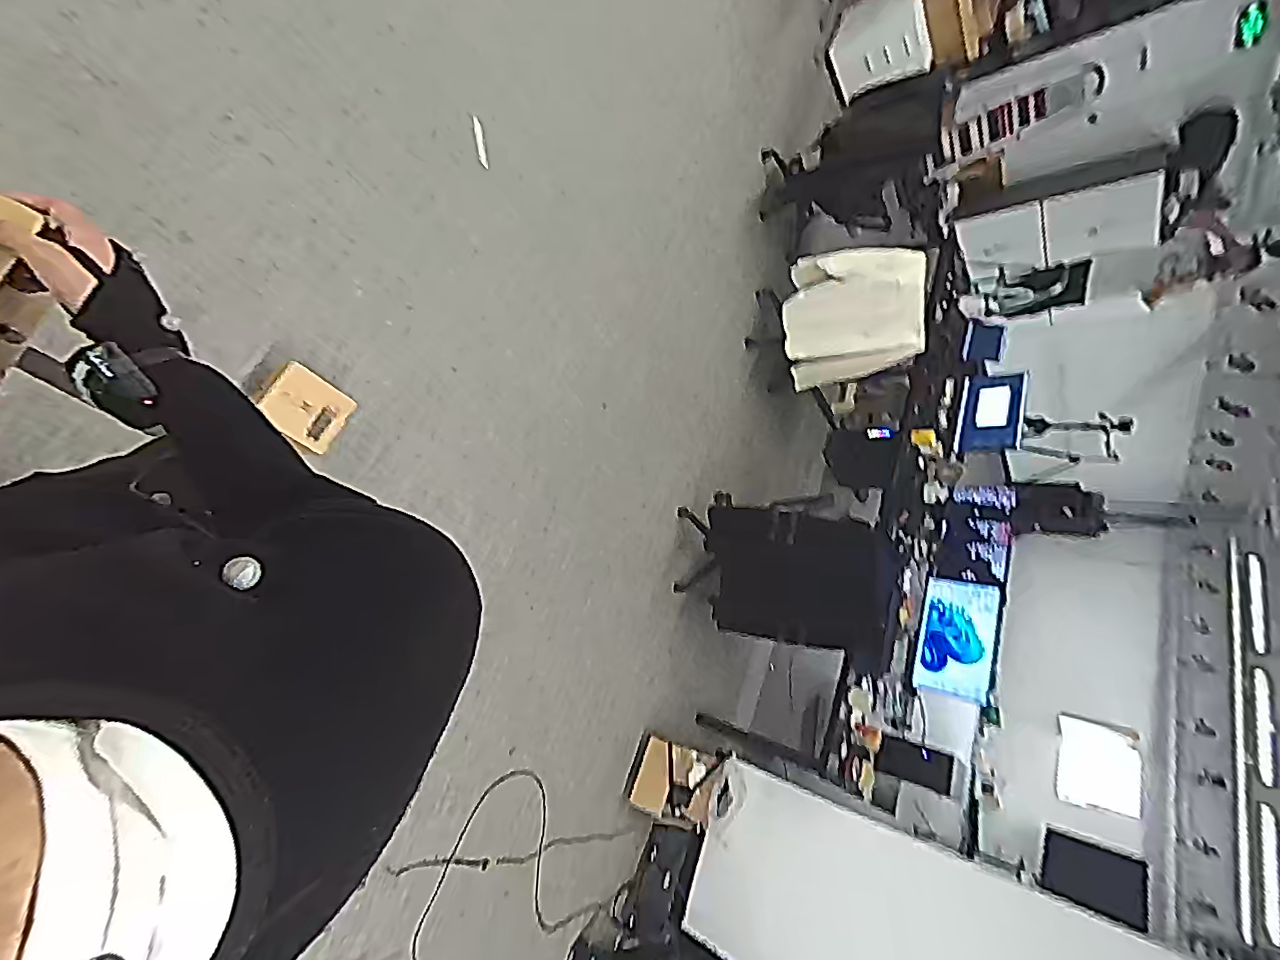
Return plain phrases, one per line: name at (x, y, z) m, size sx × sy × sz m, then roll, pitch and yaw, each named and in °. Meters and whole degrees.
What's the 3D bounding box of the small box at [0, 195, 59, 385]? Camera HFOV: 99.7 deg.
small box at (-0.637, -0.169, 0.447) m, size 0.168 × 0.176 × 0.179 m, roll 27°, pitch 70°, yaw -37°
